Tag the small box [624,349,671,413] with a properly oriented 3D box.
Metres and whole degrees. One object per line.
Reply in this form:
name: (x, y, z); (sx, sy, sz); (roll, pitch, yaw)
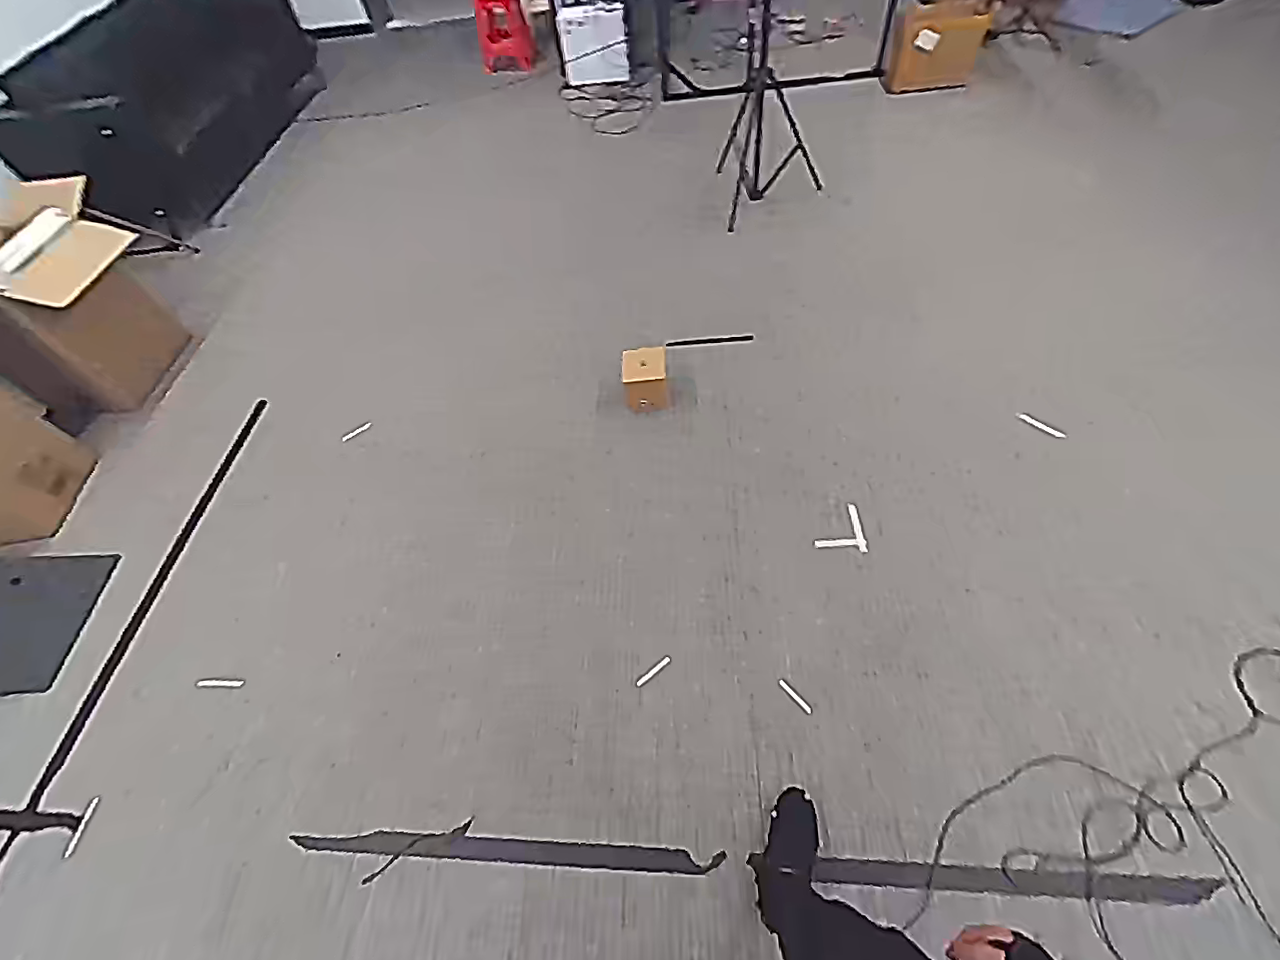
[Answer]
small box: (0.031, -0.387, 2.120); (0.168, 0.176, 0.179); (-5, 55, 6)
